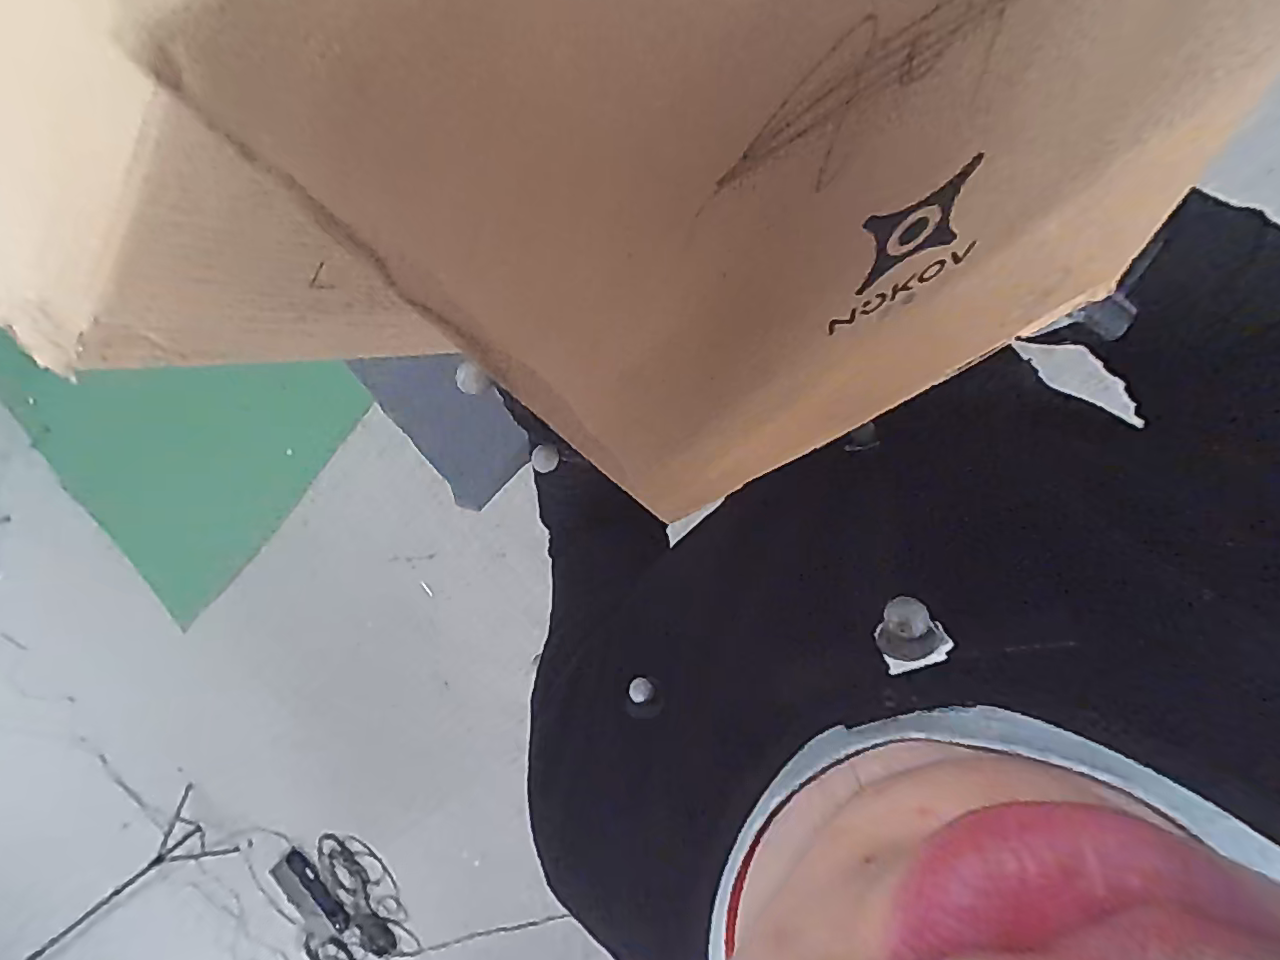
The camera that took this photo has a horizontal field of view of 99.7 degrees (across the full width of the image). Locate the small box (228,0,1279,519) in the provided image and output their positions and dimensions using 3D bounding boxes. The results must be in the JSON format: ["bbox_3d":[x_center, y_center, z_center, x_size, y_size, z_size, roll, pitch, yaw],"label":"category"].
[{"bbox_3d":[0.029,-0.115,0.148,0.168,0.179,0.176,-29,65,8],"label":"small box"}]
